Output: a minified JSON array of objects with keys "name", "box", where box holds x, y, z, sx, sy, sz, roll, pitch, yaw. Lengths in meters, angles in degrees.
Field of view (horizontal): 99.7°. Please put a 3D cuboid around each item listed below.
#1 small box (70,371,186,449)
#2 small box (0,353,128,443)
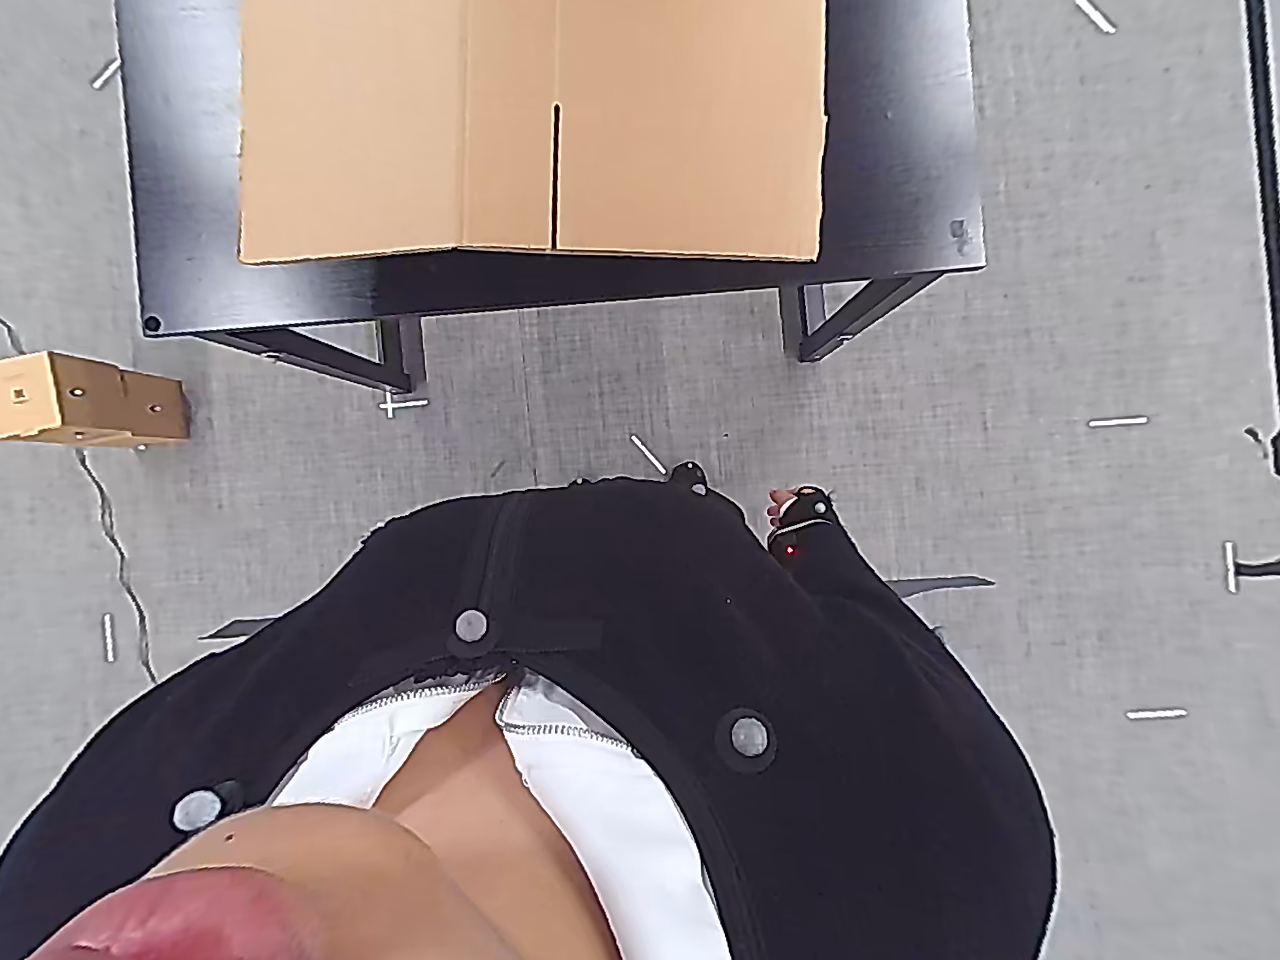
[{"name":"small box","box":[-1.375,-0.182,1.451,0.168,0.176,0.179,-8,91,2]},{"name":"small box","box":[-1.380,-0.187,1.288,0.168,0.176,0.179,-11,89,1]}]
